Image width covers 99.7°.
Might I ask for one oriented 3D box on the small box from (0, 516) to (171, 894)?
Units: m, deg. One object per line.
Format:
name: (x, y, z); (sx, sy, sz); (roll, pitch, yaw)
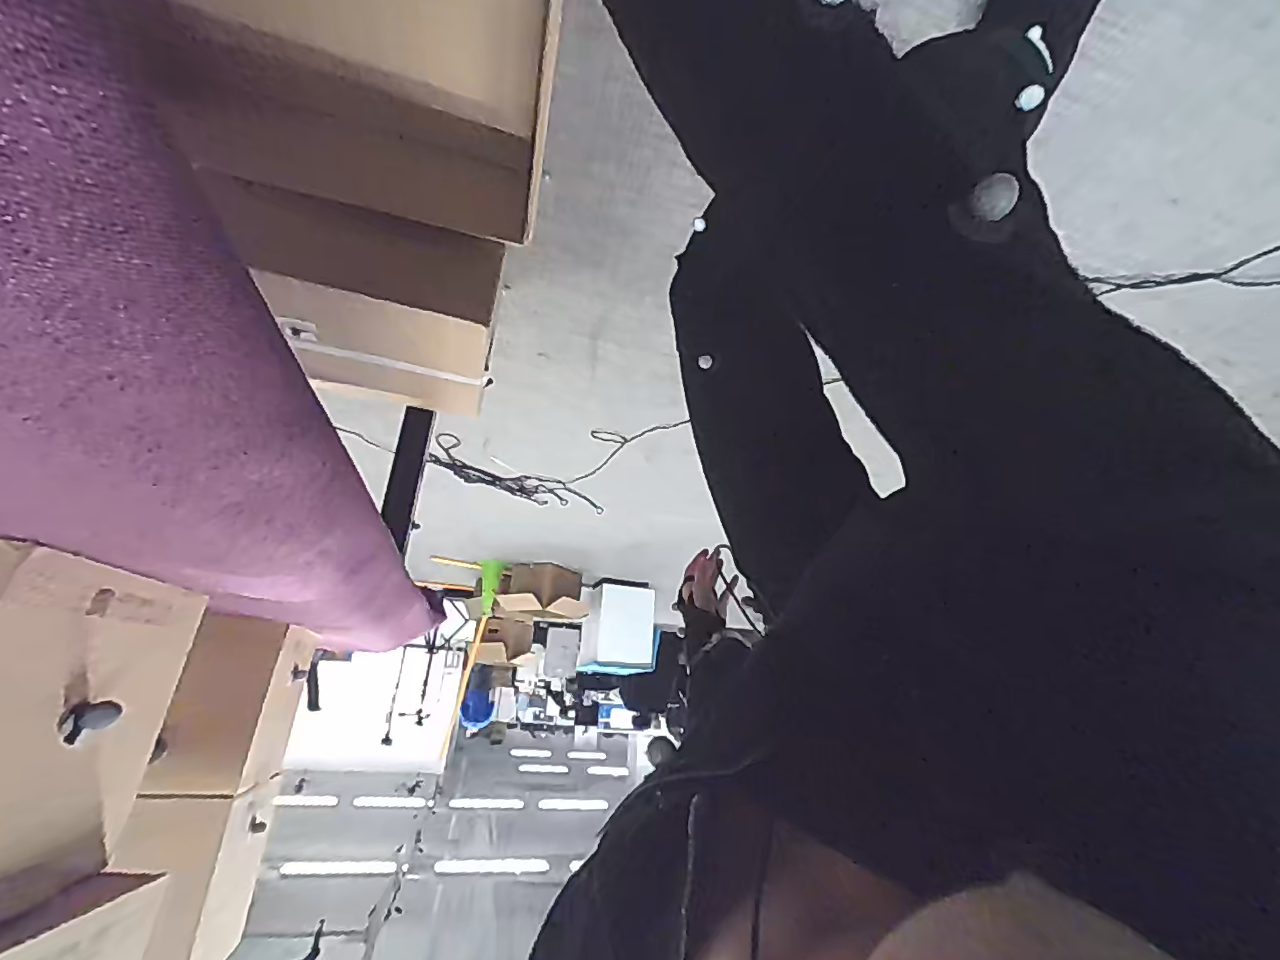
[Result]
small box: (-0.375, 0.104, 0.257); (0.179, 0.176, 0.168); (9, 158, -11)

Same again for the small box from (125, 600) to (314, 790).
small box: (-0.481, 0.221, 0.576); (0.179, 0.176, 0.168); (10, 157, -16)

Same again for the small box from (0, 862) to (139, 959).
small box: (-0.366, 0.263, 0.208); (0.179, 0.176, 0.168); (6, 159, -5)
